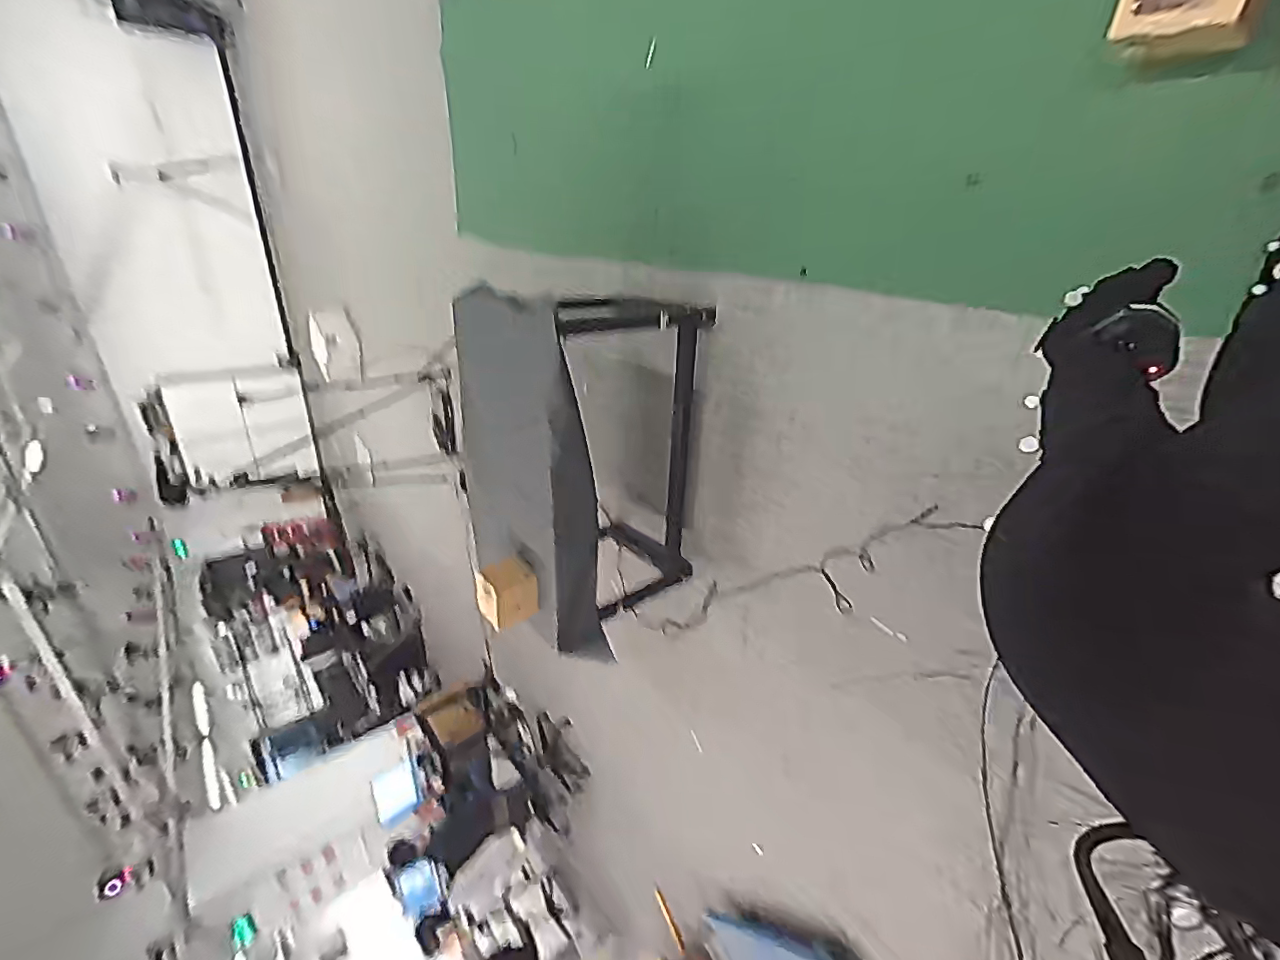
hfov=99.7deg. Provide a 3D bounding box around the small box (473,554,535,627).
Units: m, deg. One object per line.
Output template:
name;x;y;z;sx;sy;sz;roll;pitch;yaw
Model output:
small box;-0.497;0.400;1.993;0.168;0.176;0.179;31;127;41
